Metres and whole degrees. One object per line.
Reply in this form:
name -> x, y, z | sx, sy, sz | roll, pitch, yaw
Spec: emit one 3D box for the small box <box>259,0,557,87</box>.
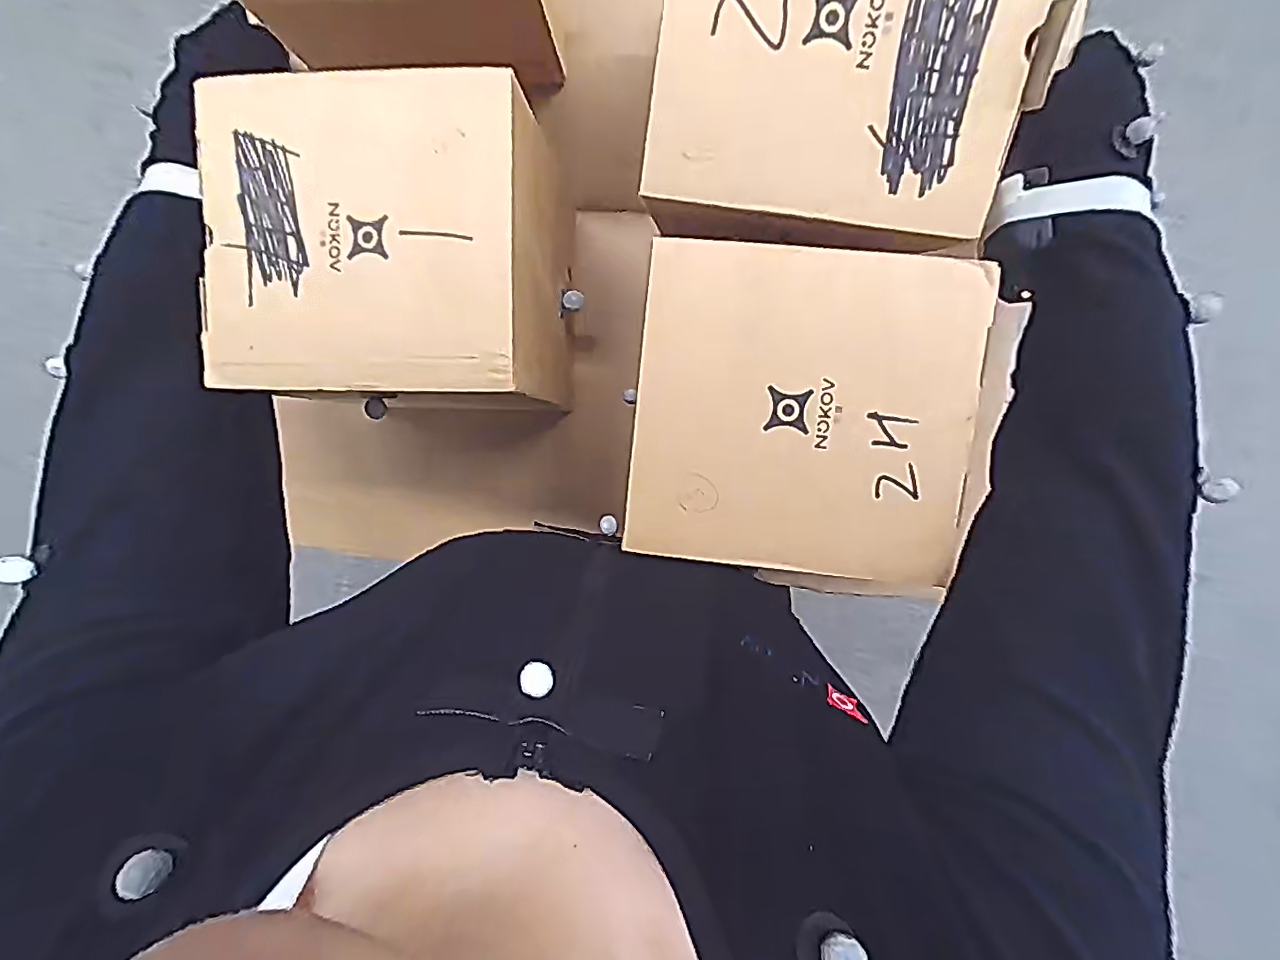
small box -> -0.151, -0.374, 0.319 | 0.179, 0.176, 0.168 | -3, 95, 6
